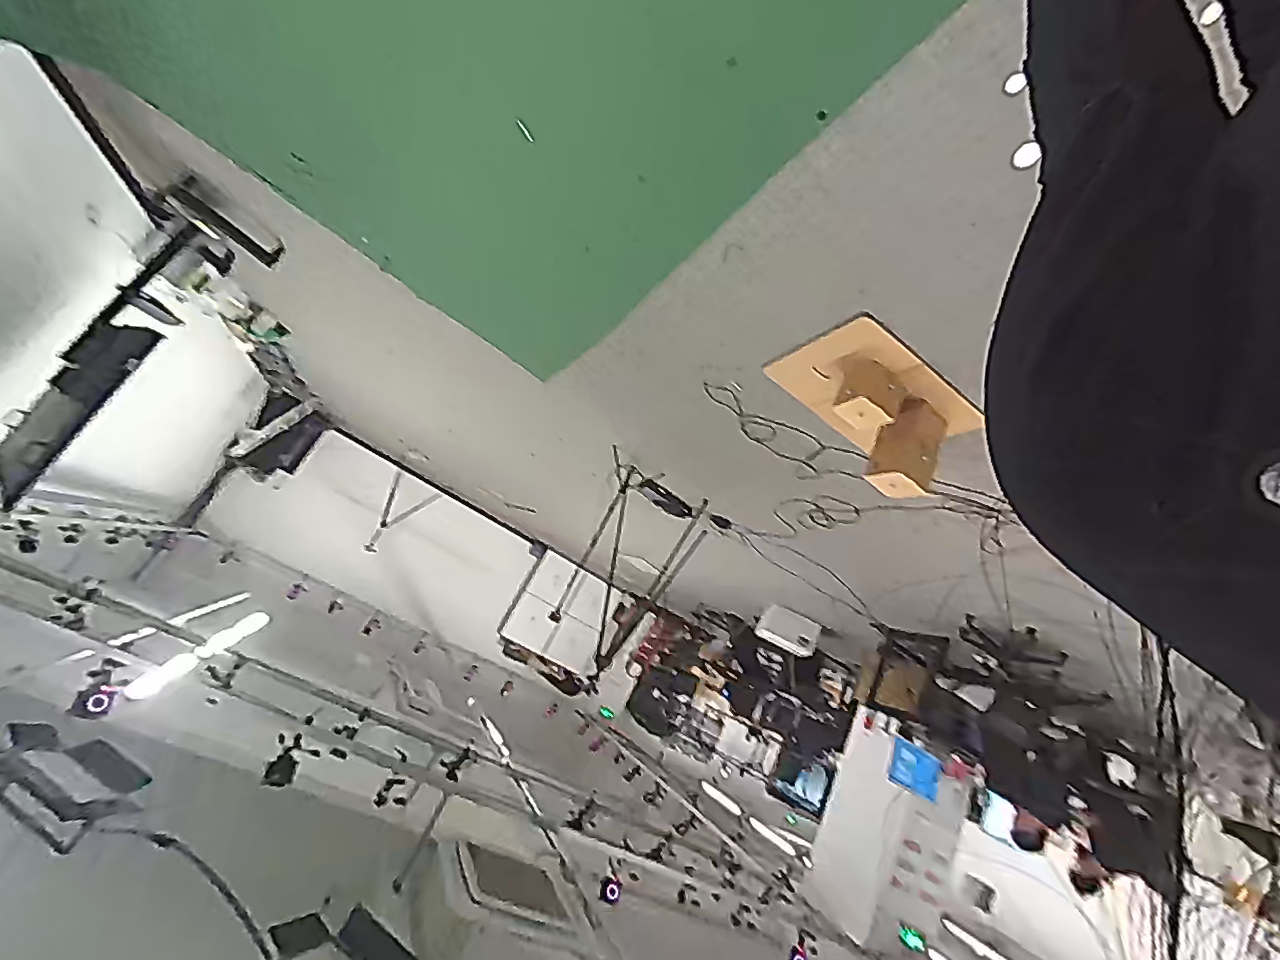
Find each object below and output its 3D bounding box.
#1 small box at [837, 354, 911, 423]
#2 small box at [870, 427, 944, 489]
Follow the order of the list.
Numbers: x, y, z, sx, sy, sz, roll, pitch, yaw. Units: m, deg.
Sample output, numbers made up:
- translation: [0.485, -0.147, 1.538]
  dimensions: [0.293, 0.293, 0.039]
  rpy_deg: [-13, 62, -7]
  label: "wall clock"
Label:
- translation: [0.901, -0.350, 2.073]
  dimensions: [0.168, 0.176, 0.179]
  rpy_deg: [32, 161, -14]
  label: "small box"
- translation: [1.033, -0.083, 2.083]
  dimensions: [0.168, 0.176, 0.179]
  rpy_deg: [32, 161, -19]
  label: "small box"
